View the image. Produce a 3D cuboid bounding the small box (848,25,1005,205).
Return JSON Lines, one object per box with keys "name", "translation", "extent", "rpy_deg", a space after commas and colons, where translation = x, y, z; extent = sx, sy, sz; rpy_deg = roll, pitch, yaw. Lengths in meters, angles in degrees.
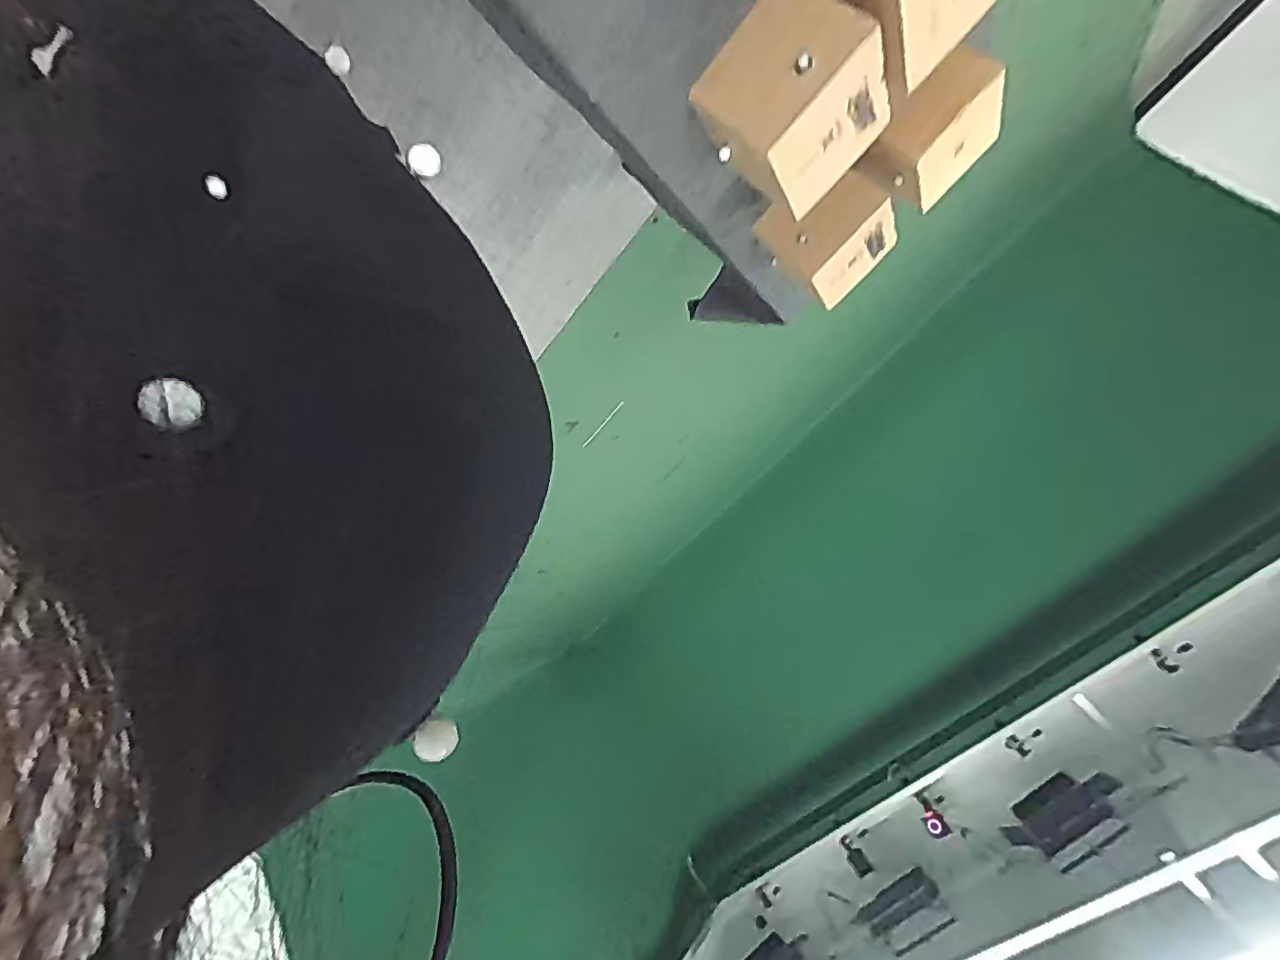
{"name": "small box", "translation": [0.494, -0.634, 0.946], "extent": [0.168, 0.176, 0.179], "rpy_deg": [-46, 155, 20]}
